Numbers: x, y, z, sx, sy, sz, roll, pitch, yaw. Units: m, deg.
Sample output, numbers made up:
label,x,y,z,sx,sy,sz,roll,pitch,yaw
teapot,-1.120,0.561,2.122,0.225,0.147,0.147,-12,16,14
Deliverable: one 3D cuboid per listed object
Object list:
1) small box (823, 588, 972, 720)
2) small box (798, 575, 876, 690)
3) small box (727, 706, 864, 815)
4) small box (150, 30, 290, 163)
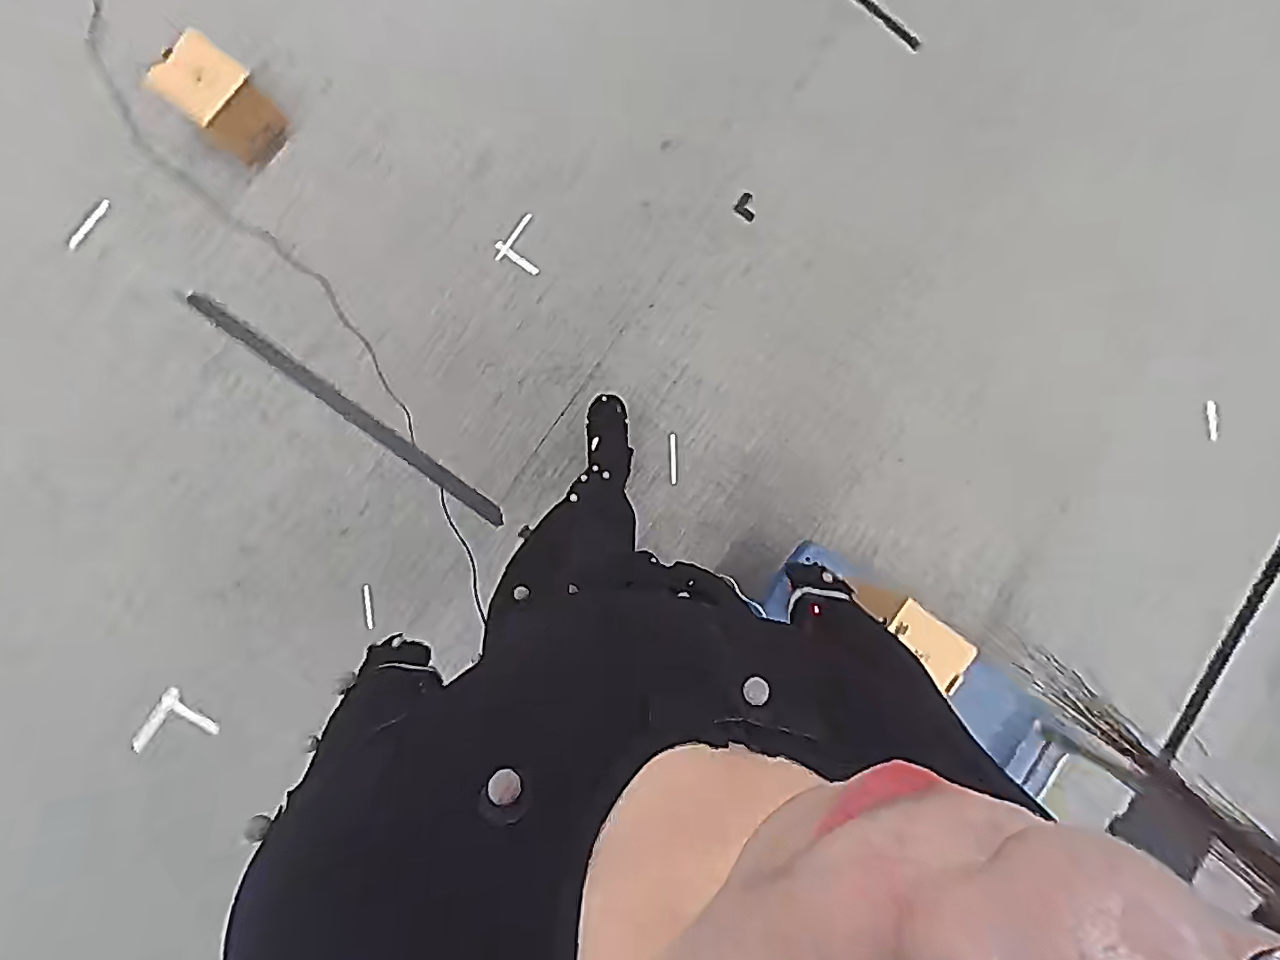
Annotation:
label,x,y,z,sx,sy,sz,roll,pitch,yaw
small box,0.516,0.343,1.106,0.179,0.176,0.168,38,86,-4
small box,0.497,0.348,1.269,0.168,0.176,0.179,41,85,-4
small box,0.300,0.594,1.085,0.168,0.176,0.179,42,87,-3
small box,-1.038,-0.947,1.353,0.179,0.176,0.168,38,86,-4
